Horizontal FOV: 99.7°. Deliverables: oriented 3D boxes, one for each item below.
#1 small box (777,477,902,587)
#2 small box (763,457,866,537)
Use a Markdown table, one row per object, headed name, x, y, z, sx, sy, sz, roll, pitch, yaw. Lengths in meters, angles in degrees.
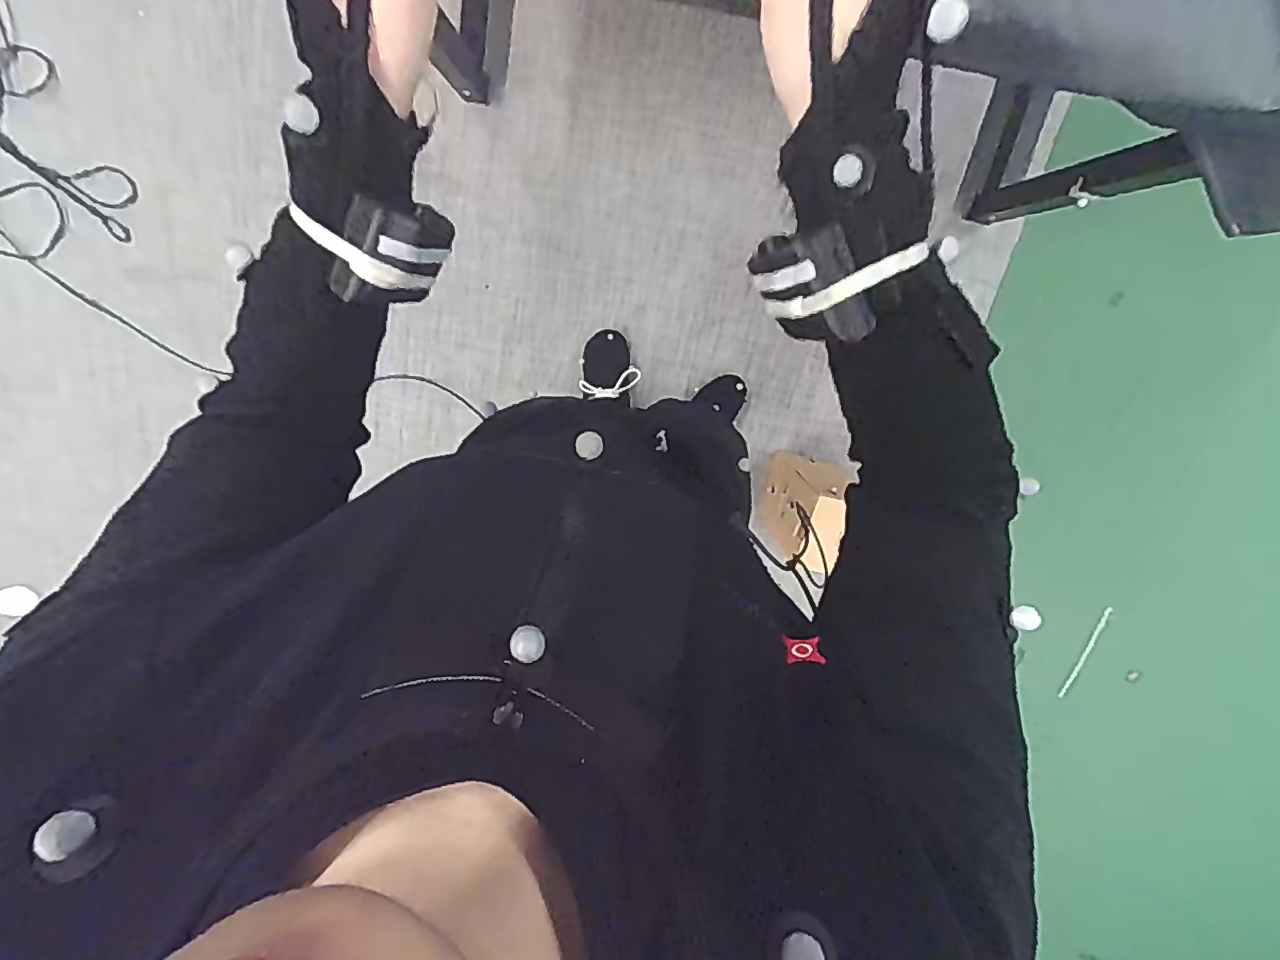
| name | x | y | z | sx | sy | sz | roll | pitch | yaw |
| --- | --- | --- | --- | --- | --- | --- | --- | --- | --- |
| small box | 0.418 | 0.105 | 1.166 | 0.179 | 0.176 | 0.168 | 13 | 108 | -5 |
| small box | 0.415 | 0.052 | 1.322 | 0.179 | 0.176 | 0.168 | 12 | 107 | -3 |
